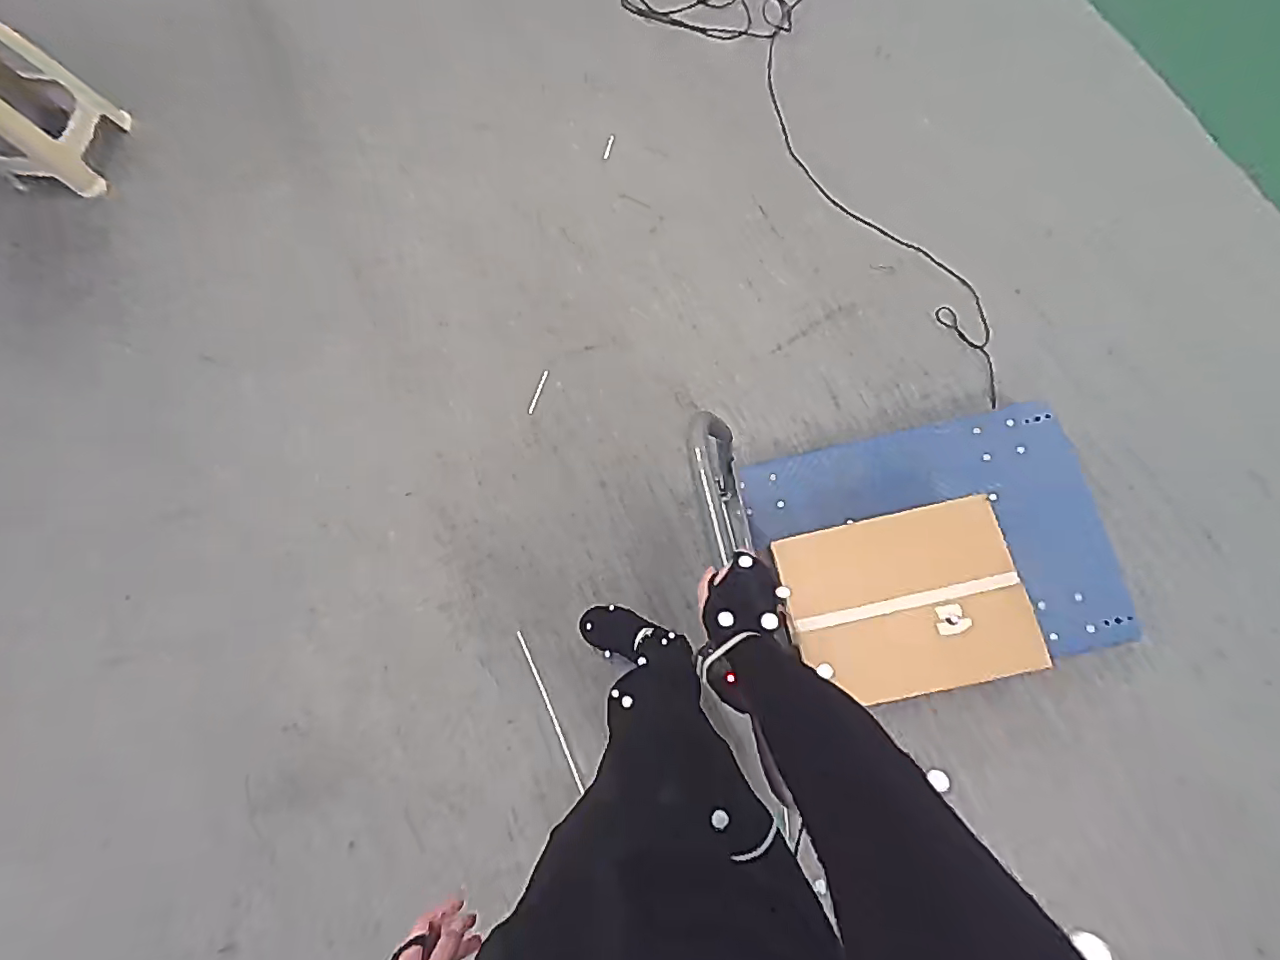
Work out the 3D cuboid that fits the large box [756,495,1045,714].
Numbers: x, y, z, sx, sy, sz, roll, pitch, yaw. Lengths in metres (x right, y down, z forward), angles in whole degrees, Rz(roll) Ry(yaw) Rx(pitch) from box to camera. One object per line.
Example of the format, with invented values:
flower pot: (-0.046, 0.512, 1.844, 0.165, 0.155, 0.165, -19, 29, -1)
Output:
large box: (0.490, 0.254, 1.120, 0.408, 0.320, 0.320, -14, 77, 3)
